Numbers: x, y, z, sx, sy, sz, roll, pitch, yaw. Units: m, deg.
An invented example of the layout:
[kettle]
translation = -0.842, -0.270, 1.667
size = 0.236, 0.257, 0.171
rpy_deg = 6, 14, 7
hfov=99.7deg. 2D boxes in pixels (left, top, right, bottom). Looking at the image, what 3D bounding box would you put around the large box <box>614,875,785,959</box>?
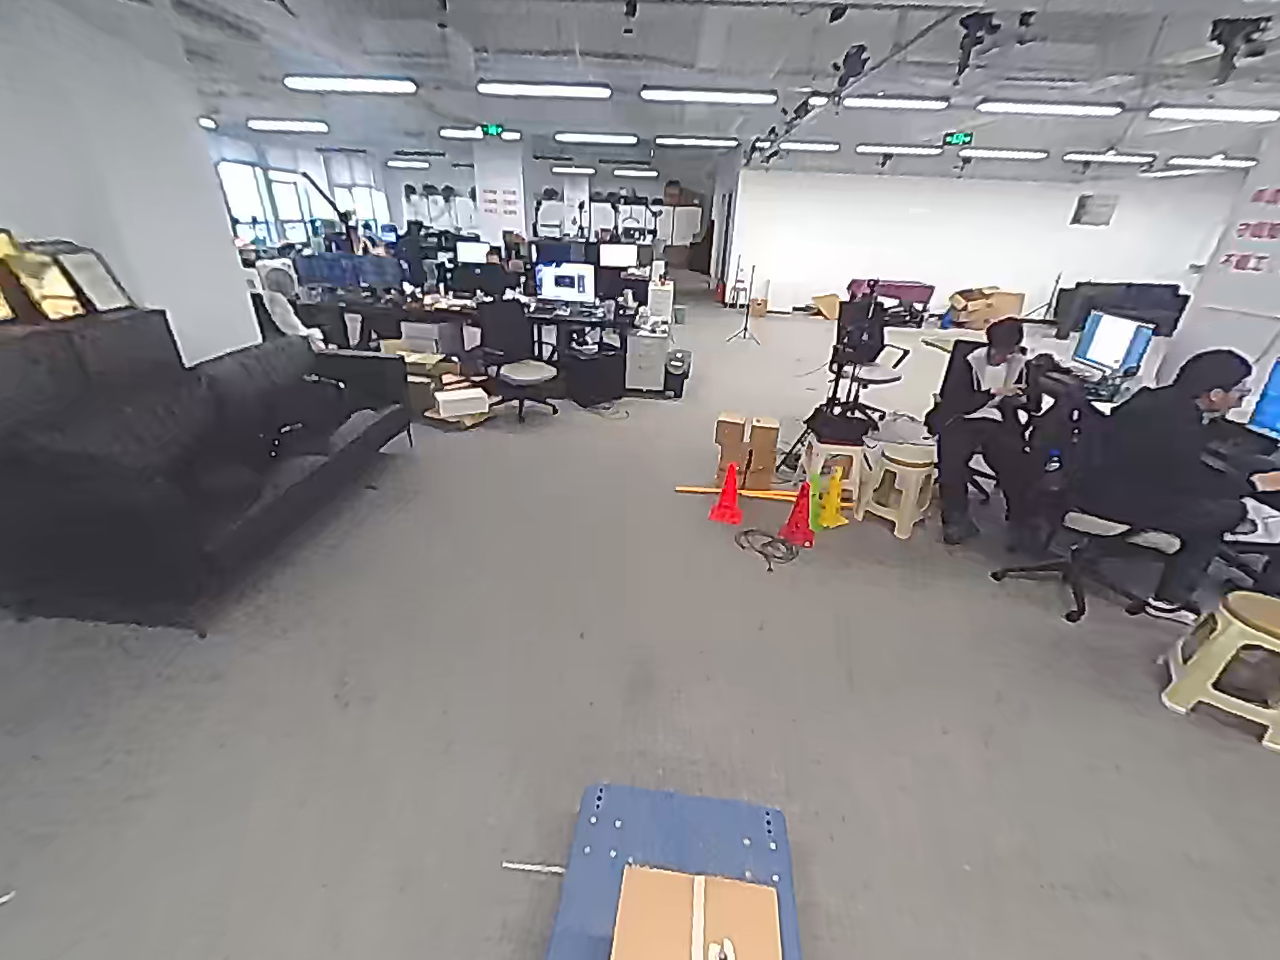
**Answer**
[large box]
translation = 0.097, 1.036, 0.974
size = 0.320, 0.320, 0.408
rpy_deg = 5, 25, 6
